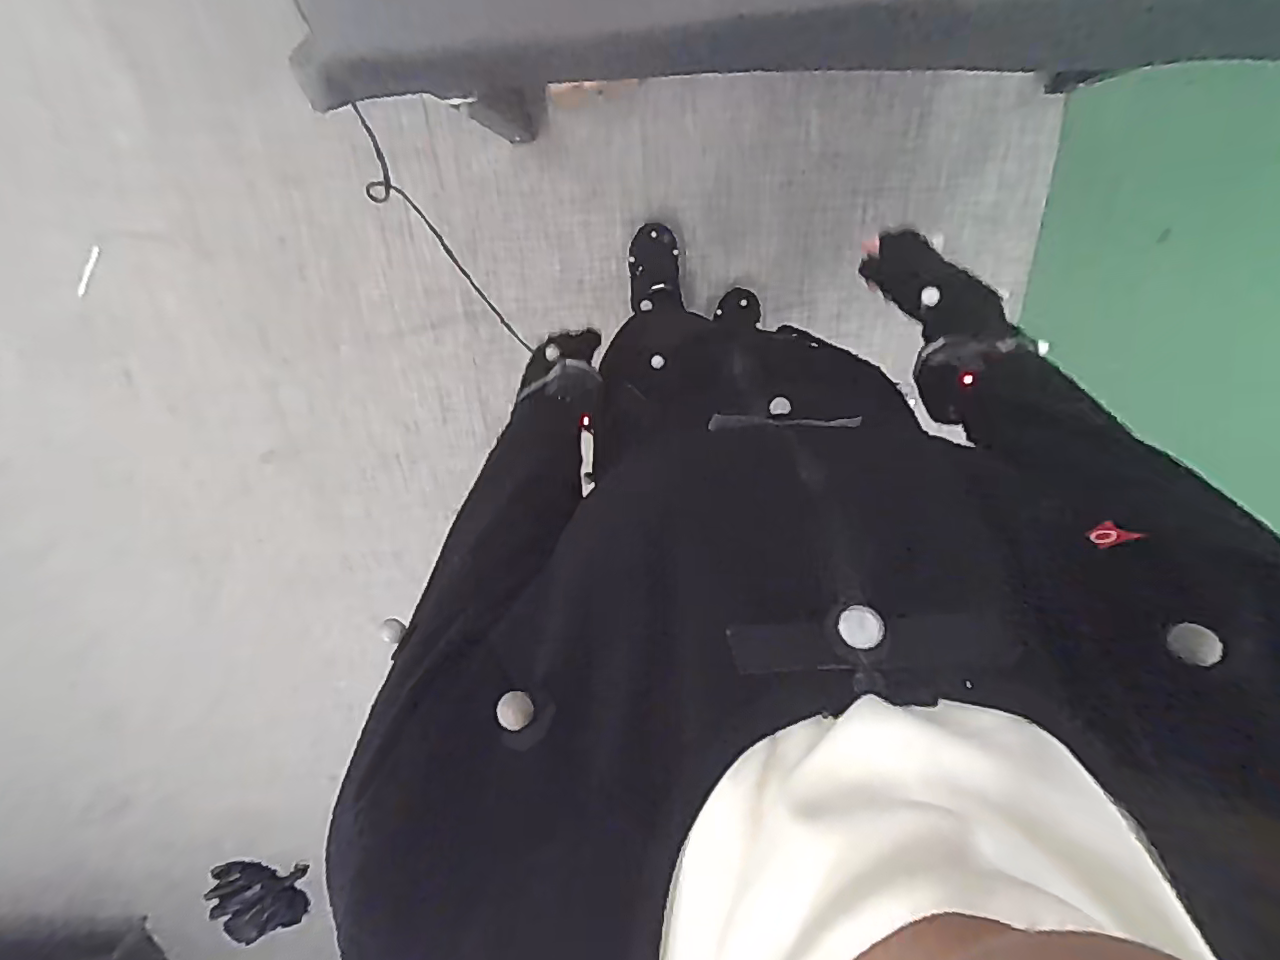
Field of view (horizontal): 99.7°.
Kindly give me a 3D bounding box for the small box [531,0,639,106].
[{"bbox_3d":[-0.098,-0.842,1.036,0.168,0.176,0.179,-12,115,6],"label":"small box"}]
